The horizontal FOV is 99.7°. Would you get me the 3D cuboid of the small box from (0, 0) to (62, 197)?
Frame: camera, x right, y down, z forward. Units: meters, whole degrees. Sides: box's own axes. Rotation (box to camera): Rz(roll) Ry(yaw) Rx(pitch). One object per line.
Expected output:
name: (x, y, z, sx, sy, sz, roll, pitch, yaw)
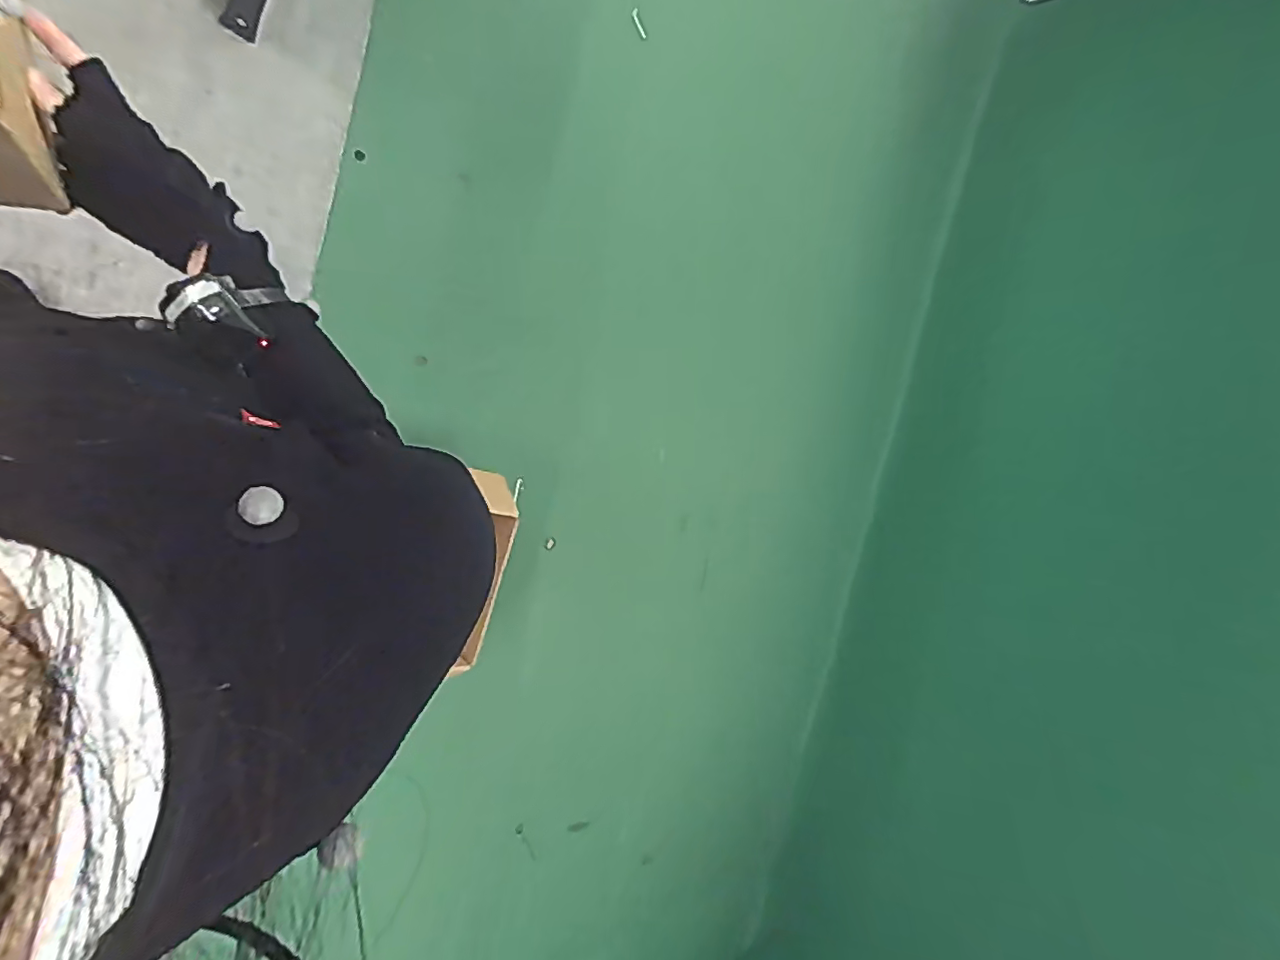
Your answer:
small box: (-0.437, -0.263, 0.270, 0.168, 0.176, 0.179, -13, 104, -38)
